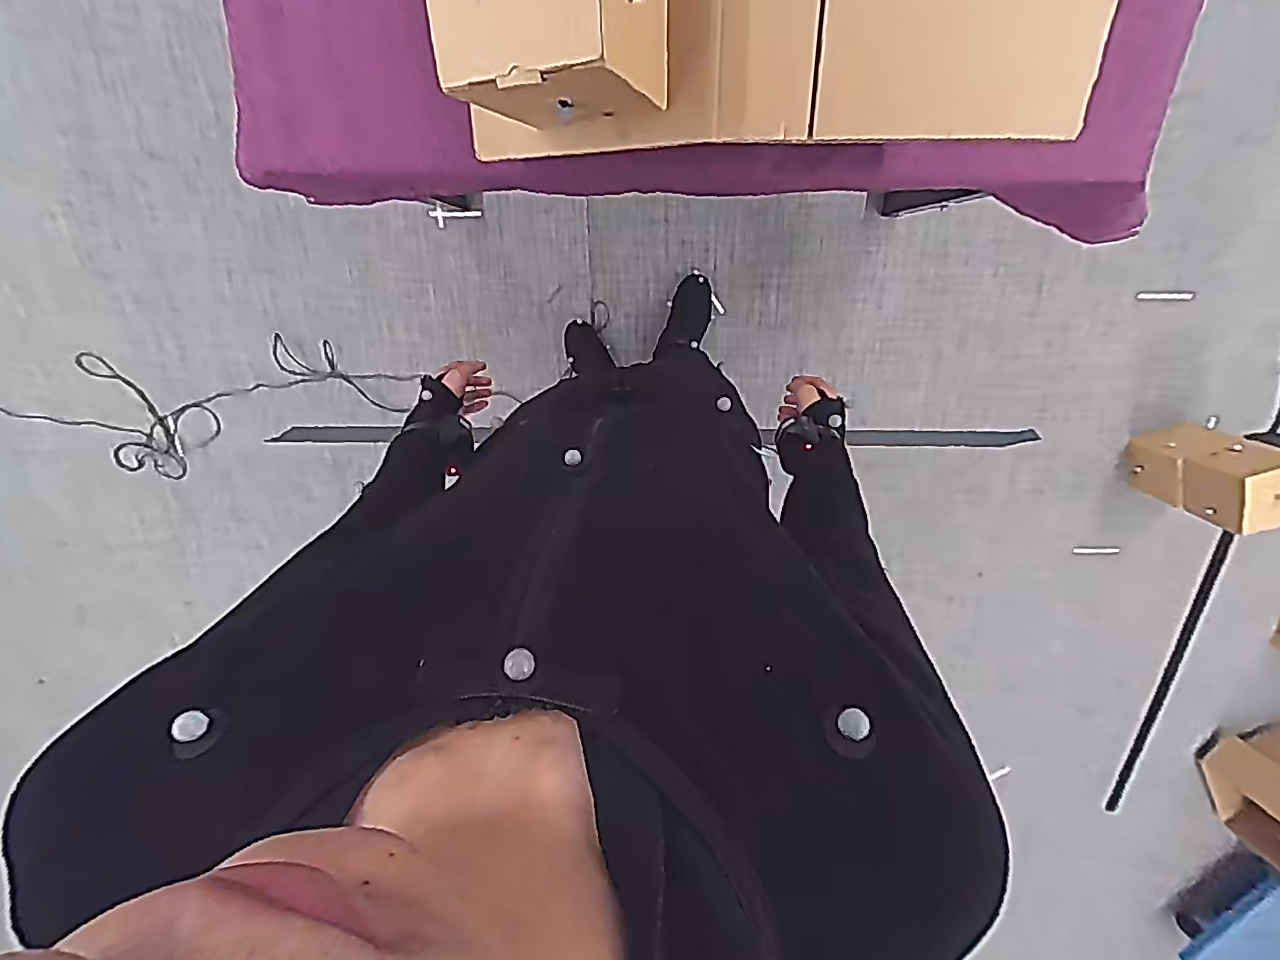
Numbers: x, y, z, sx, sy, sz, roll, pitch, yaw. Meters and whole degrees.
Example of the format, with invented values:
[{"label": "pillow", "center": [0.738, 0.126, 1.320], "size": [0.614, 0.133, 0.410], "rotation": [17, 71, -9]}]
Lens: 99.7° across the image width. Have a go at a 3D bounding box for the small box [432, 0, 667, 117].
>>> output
[{"label": "small box", "center": [-0.076, -0.457, 0.504], "size": [0.168, 0.176, 0.179], "rotation": [7, 114, 20]}]
